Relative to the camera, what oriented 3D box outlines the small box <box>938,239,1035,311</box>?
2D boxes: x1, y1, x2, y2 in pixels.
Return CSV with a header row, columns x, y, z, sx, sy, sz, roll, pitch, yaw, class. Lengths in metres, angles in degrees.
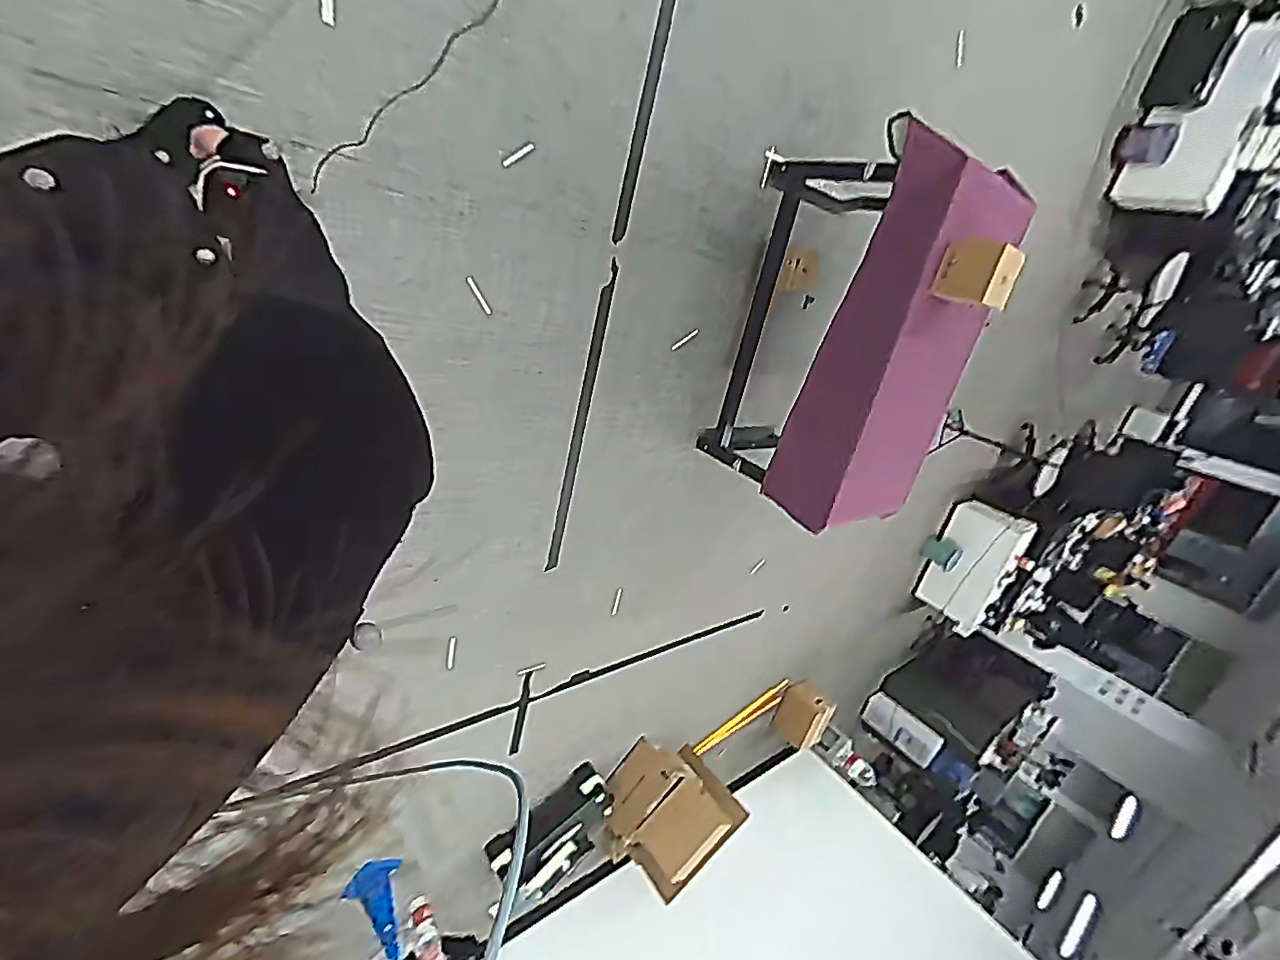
x,y,z,sx,sy,sz,roll,pitch,yaw,class
1.055,-0.629,1.653,0.179,0.176,0.168,-4,118,-39,small box
